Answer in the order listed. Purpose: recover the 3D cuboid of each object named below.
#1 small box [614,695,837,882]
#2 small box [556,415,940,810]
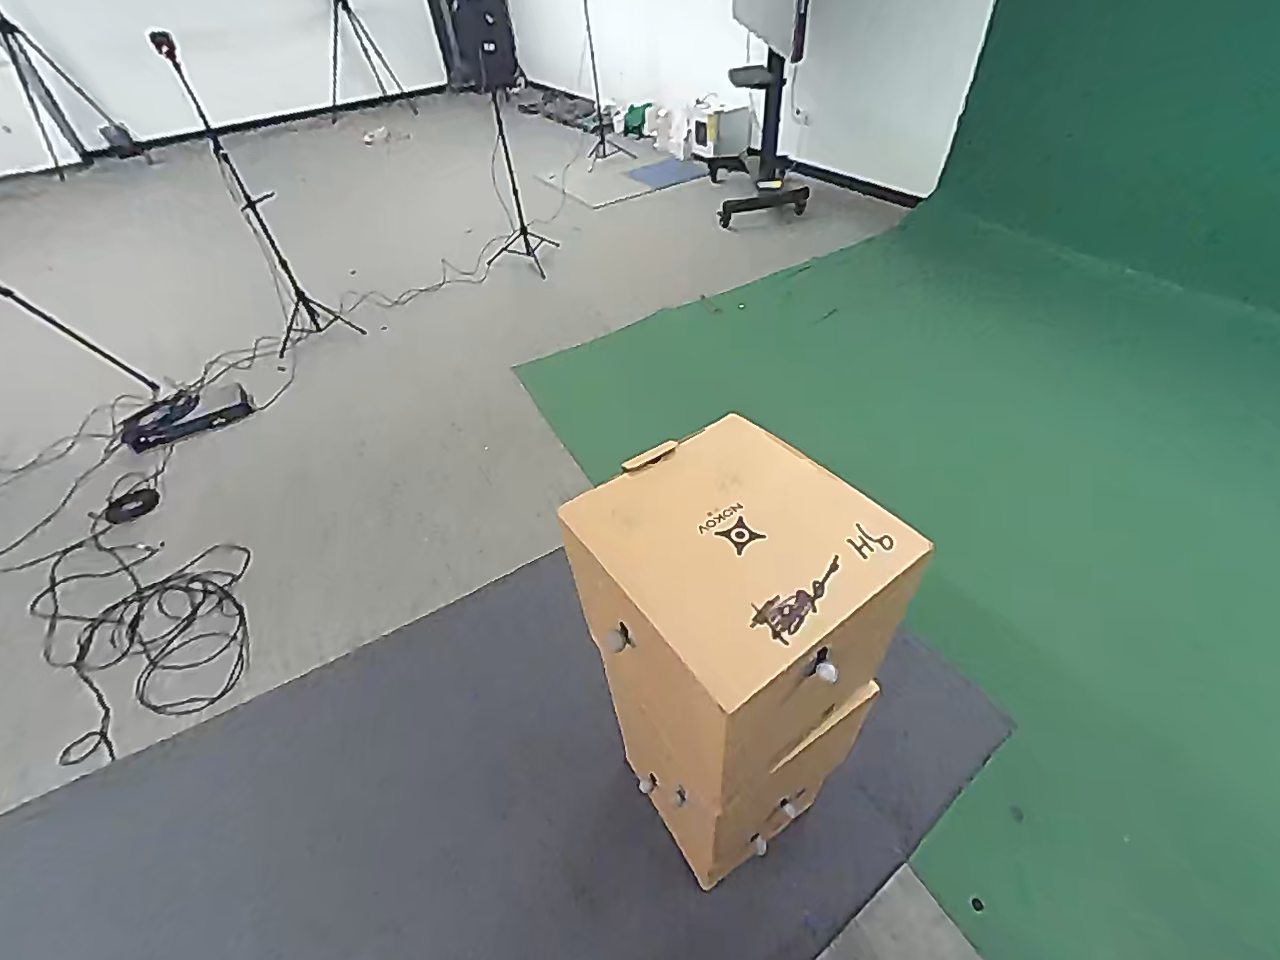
[{"bbox_3d":[0.091,0.319,0.617,0.168,0.176,0.179,-26,48,-19],"label":"small box"},{"bbox_3d":[0.063,0.089,0.385,0.168,0.176,0.179,-29,48,-21],"label":"small box"}]
